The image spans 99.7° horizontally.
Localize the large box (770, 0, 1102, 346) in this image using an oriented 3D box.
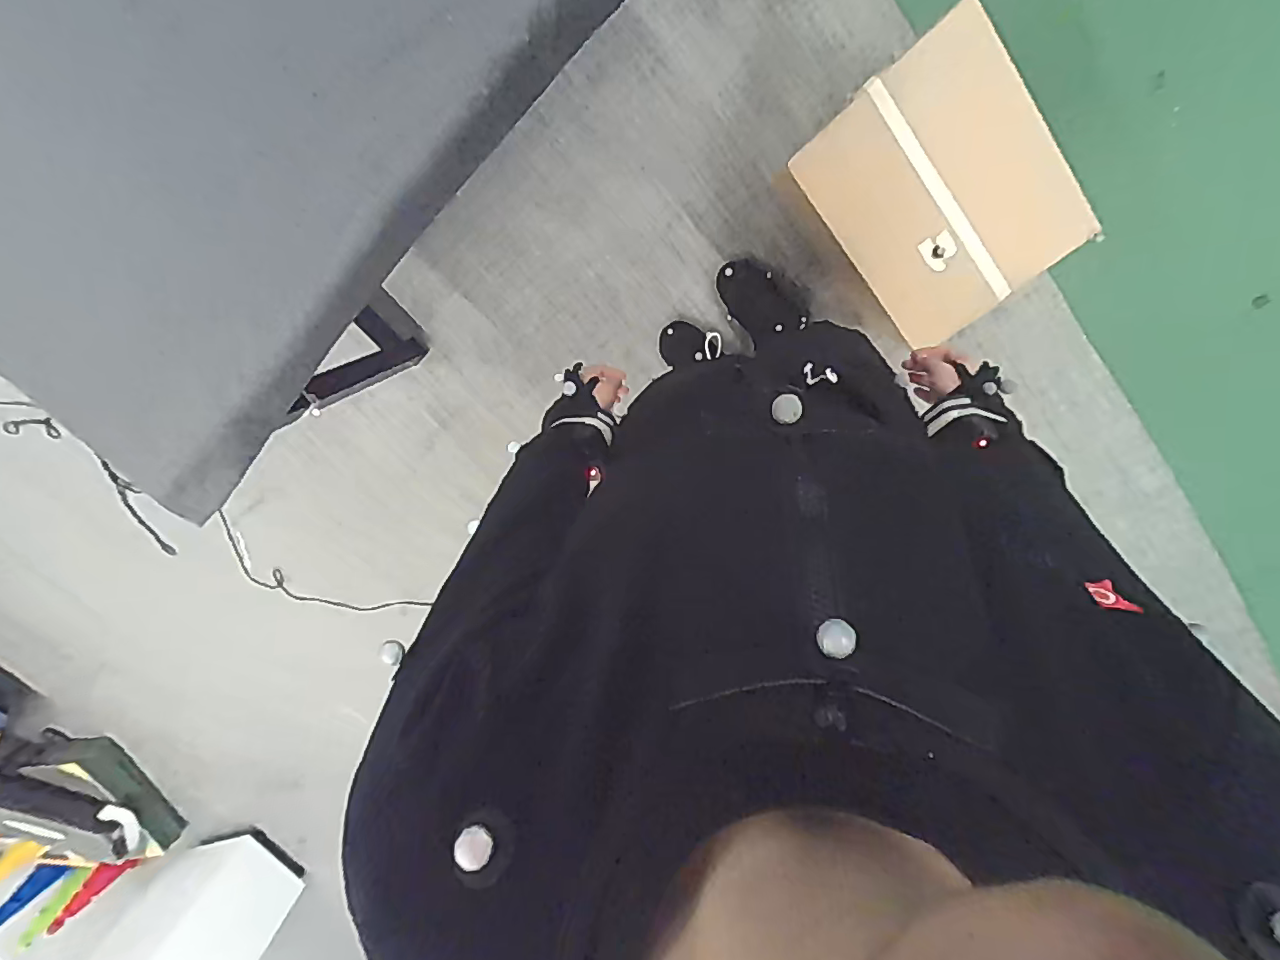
[{"bbox_3d":[0.493,-0.519,0.983,0.320,0.320,0.408,-37,105,22],"label":"large box"}]
